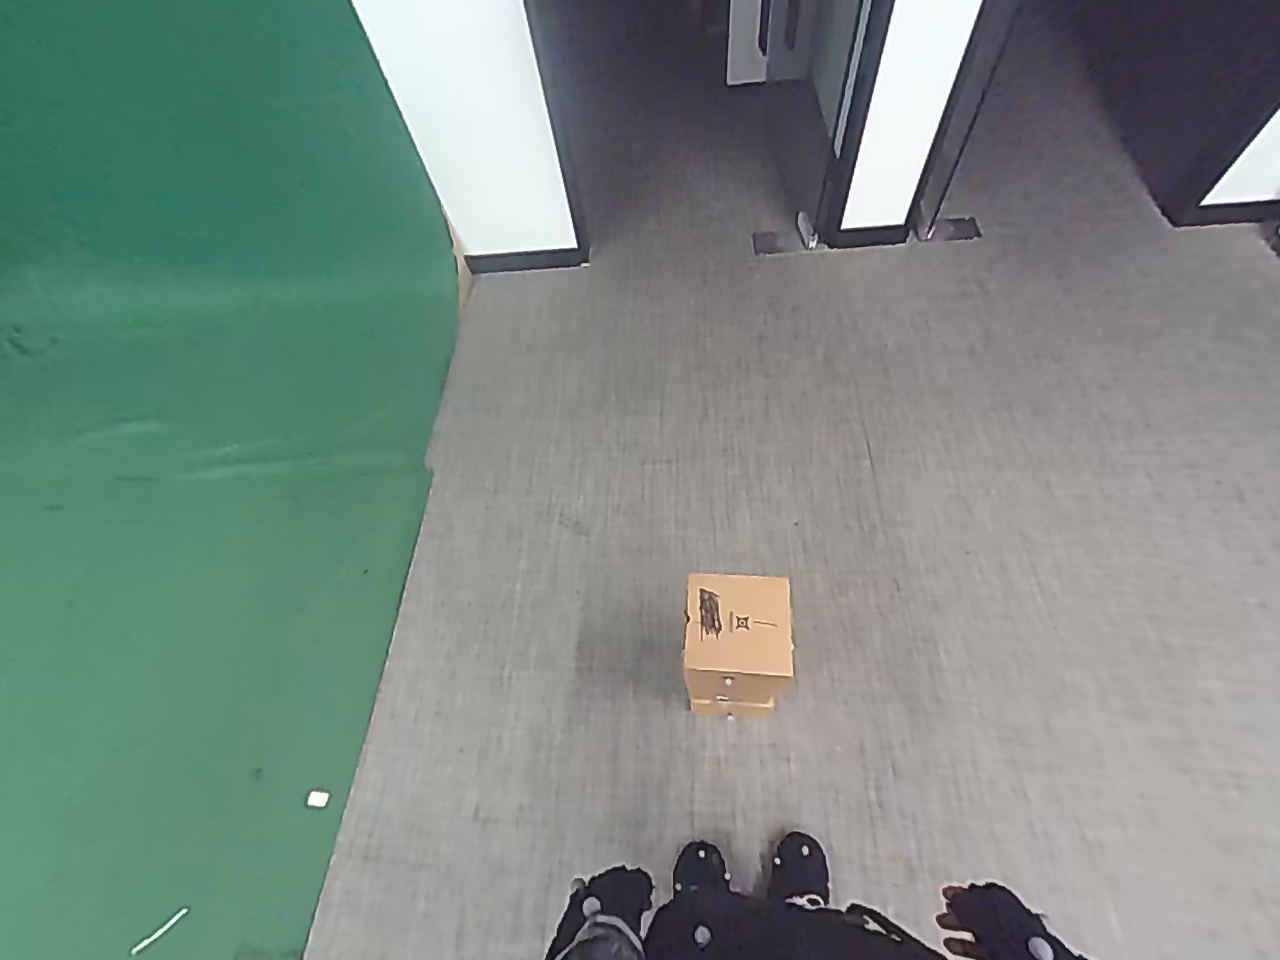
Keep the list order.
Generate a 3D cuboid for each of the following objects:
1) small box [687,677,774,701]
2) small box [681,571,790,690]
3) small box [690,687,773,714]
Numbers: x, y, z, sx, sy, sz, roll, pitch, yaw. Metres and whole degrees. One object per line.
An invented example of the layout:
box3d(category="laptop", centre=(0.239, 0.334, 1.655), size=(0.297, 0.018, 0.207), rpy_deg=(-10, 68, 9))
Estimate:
box3d(category="small box", centre=(0.185, 0.351, 1.121), size=(0.168, 0.176, 0.179), rpy_deg=(0, 61, 8))
box3d(category="small box", centre=(0.171, 0.275, 0.975), size=(0.179, 0.176, 0.168), rpy_deg=(2, 60, 9))
box3d(category="small box", centre=(0.207, 0.442, 1.254), size=(0.179, 0.176, 0.168), rpy_deg=(1, 60, 7))
